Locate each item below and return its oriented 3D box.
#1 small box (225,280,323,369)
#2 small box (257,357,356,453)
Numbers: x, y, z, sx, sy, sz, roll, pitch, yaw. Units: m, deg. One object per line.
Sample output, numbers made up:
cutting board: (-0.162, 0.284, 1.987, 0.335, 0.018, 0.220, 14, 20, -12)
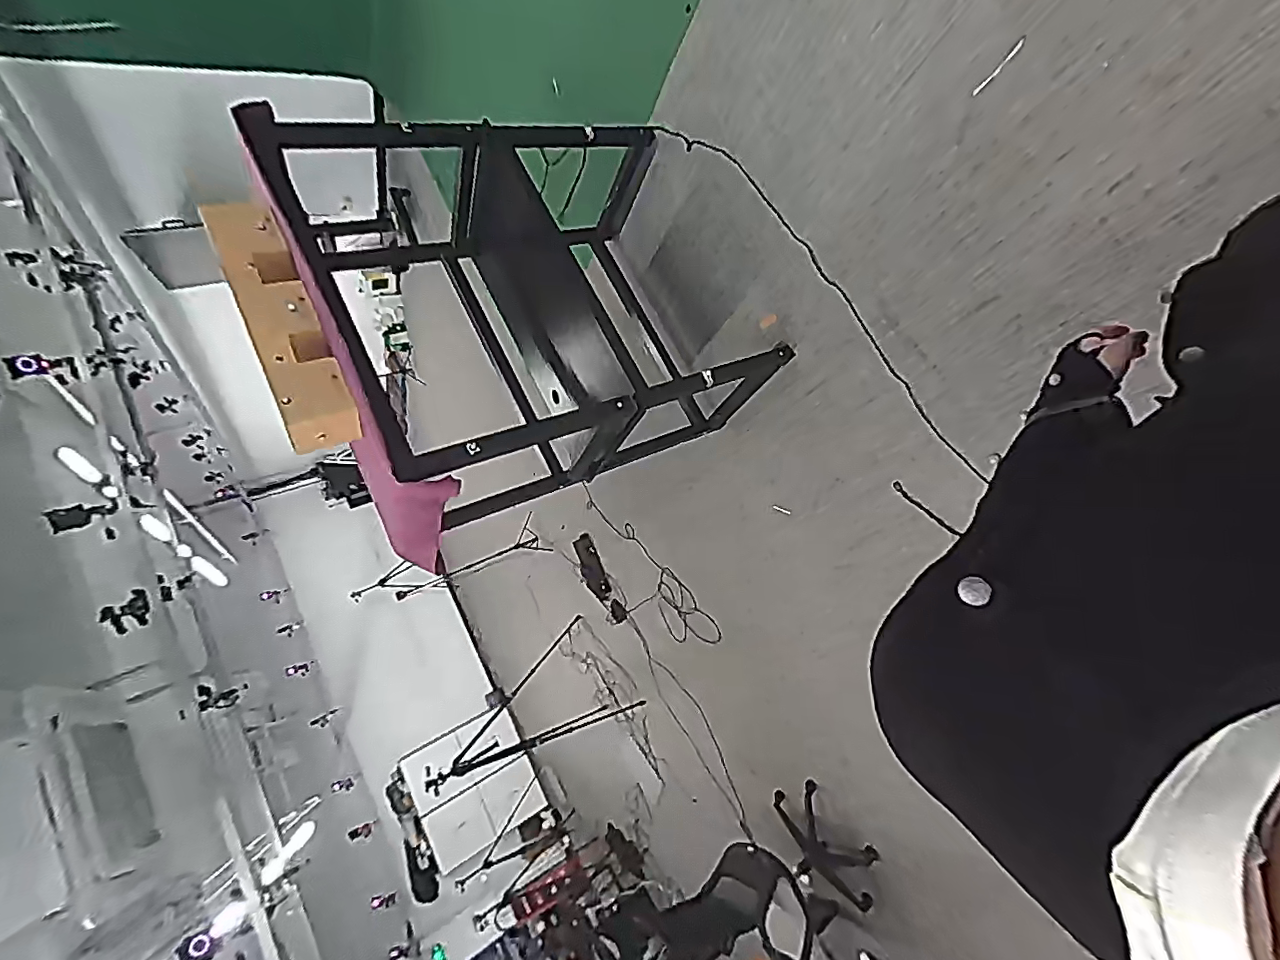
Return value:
small box: (-0.979, -0.415, 1.463, 0.168, 0.176, 0.179, 62, 149, 10)
small box: (-0.861, -0.196, 1.414, 0.168, 0.176, 0.179, 61, 150, 11)
